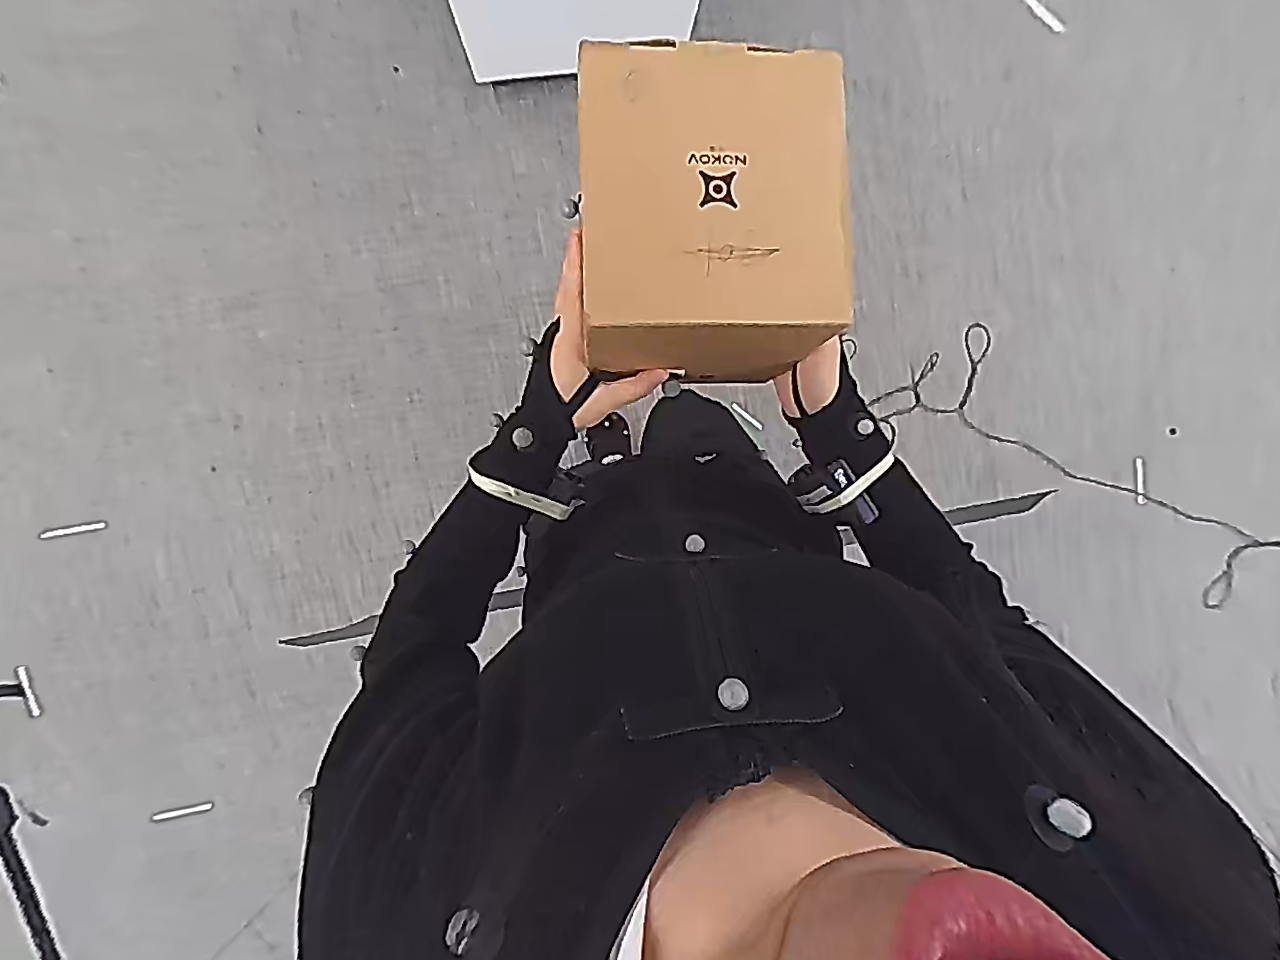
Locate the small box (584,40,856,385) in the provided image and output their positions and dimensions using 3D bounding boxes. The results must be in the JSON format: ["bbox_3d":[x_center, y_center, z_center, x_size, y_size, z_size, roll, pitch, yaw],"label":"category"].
[{"bbox_3d":[0.042,-0.176,0.407,0.168,0.176,0.179,-2,88,-5],"label":"small box"}]
